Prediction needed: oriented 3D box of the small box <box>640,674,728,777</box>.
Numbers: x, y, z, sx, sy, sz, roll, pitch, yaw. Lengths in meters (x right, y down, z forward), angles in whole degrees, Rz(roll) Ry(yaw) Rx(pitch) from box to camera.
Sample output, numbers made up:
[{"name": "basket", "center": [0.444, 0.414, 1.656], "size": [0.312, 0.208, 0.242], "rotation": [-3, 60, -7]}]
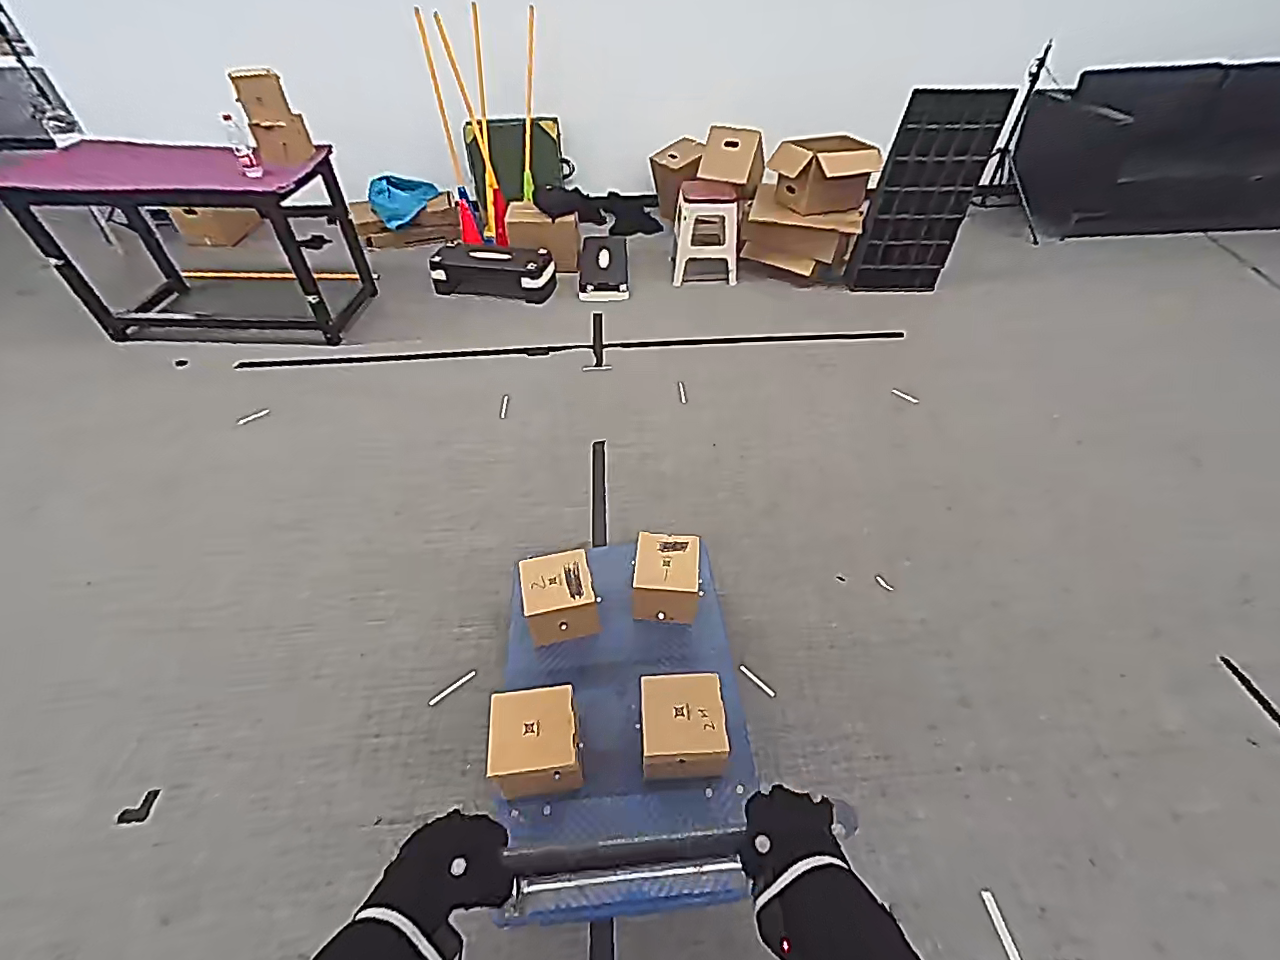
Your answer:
[{"name": "small box", "center": [0.090, 0.544, 1.193], "size": [0.179, 0.176, 0.168], "rotation": [-1, 47, -1]}]

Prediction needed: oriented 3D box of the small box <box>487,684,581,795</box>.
[{"name": "small box", "center": [-0.225, 0.565, 1.173], "size": [0.179, 0.176, 0.168], "rotation": [-4, 47, -7]}]

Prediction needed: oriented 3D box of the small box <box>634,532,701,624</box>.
[{"name": "small box", "center": [0.073, 0.264, 1.458], "size": [0.168, 0.176, 0.179], "rotation": [4, 48, 4]}]
